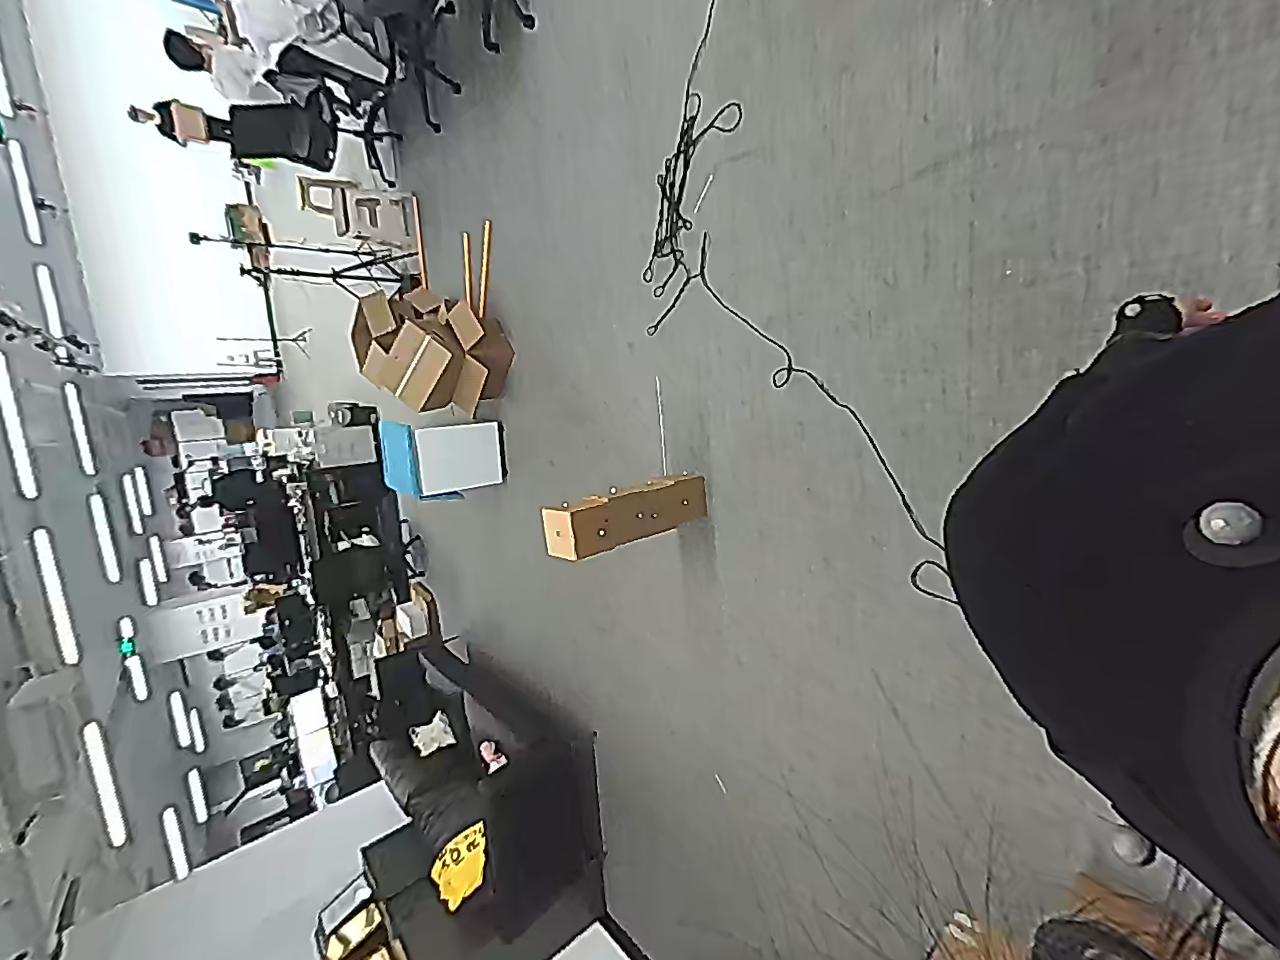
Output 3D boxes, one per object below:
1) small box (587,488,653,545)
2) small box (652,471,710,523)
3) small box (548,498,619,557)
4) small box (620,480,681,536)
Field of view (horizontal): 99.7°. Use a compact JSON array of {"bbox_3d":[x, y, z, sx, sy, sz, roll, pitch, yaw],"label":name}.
[{"bbox_3d":[-0.072,0.125,1.968,0.168,0.176,0.179,2,100,51],"label":"small box"},{"bbox_3d":[0.170,0.065,2.181,0.168,0.176,0.179,4,102,51],"label":"small box"},{"bbox_3d":[-0.195,0.158,1.865,0.179,0.176,0.168,1,101,49],"label":"small box"},{"bbox_3d":[0.044,0.102,2.081,0.168,0.176,0.179,5,103,49],"label":"small box"}]
